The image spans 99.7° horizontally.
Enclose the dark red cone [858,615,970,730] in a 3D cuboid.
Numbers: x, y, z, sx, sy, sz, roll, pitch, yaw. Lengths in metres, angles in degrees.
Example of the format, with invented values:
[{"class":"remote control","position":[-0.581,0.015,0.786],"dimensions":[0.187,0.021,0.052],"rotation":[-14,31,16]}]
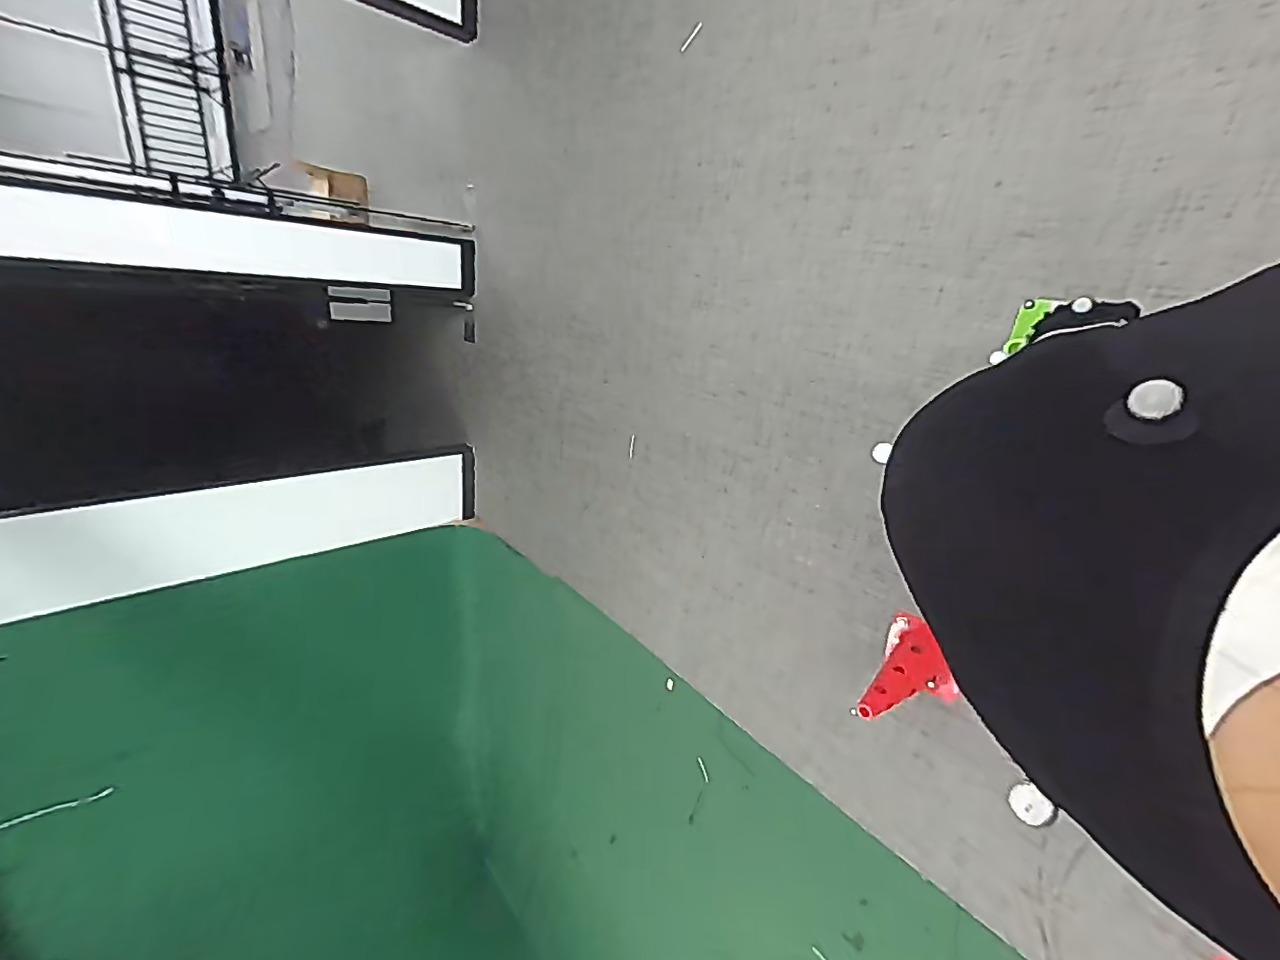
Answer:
[{"class":"dark red cone","position":[0.661,0.519,1.373],"dimensions":[0.202,0.394,0.201],"rotation":[21,116,44]}]

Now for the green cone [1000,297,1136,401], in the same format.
[{"class":"green cone","position":[0.797,-0.256,1.062],"dimensions":[0.202,0.368,0.200],"rotation":[25,118,41]}]
